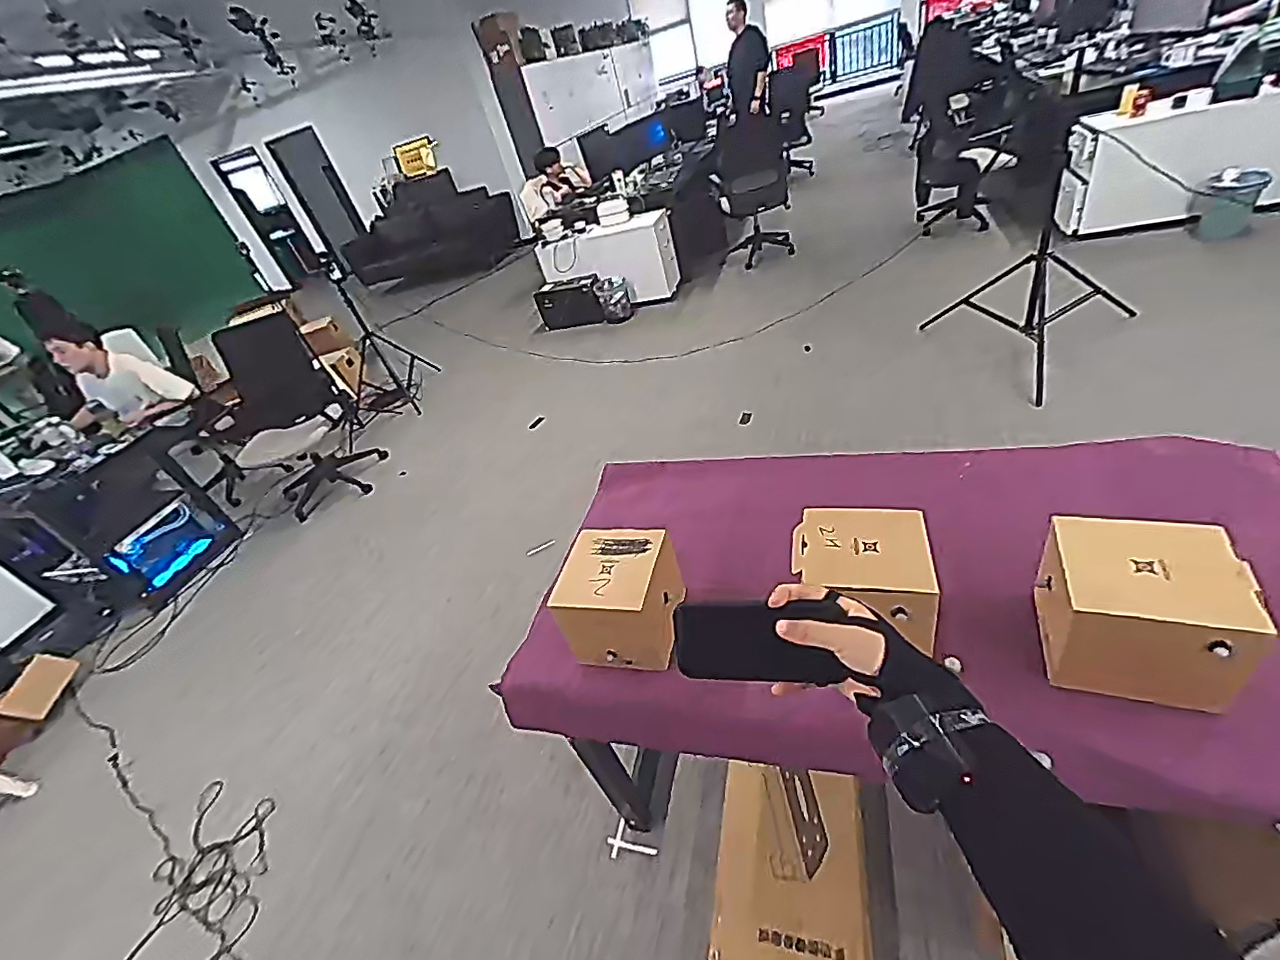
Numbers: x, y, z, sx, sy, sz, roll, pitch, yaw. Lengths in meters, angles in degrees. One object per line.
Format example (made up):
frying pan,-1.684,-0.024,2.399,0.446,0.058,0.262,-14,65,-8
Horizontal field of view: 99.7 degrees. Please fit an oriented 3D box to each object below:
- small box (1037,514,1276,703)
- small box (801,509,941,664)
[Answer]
small box,0.637,0.163,0.701,0.179,0.176,0.168,2,41,26
small box,0.345,0.162,0.829,0.179,0.176,0.168,-3,36,20
